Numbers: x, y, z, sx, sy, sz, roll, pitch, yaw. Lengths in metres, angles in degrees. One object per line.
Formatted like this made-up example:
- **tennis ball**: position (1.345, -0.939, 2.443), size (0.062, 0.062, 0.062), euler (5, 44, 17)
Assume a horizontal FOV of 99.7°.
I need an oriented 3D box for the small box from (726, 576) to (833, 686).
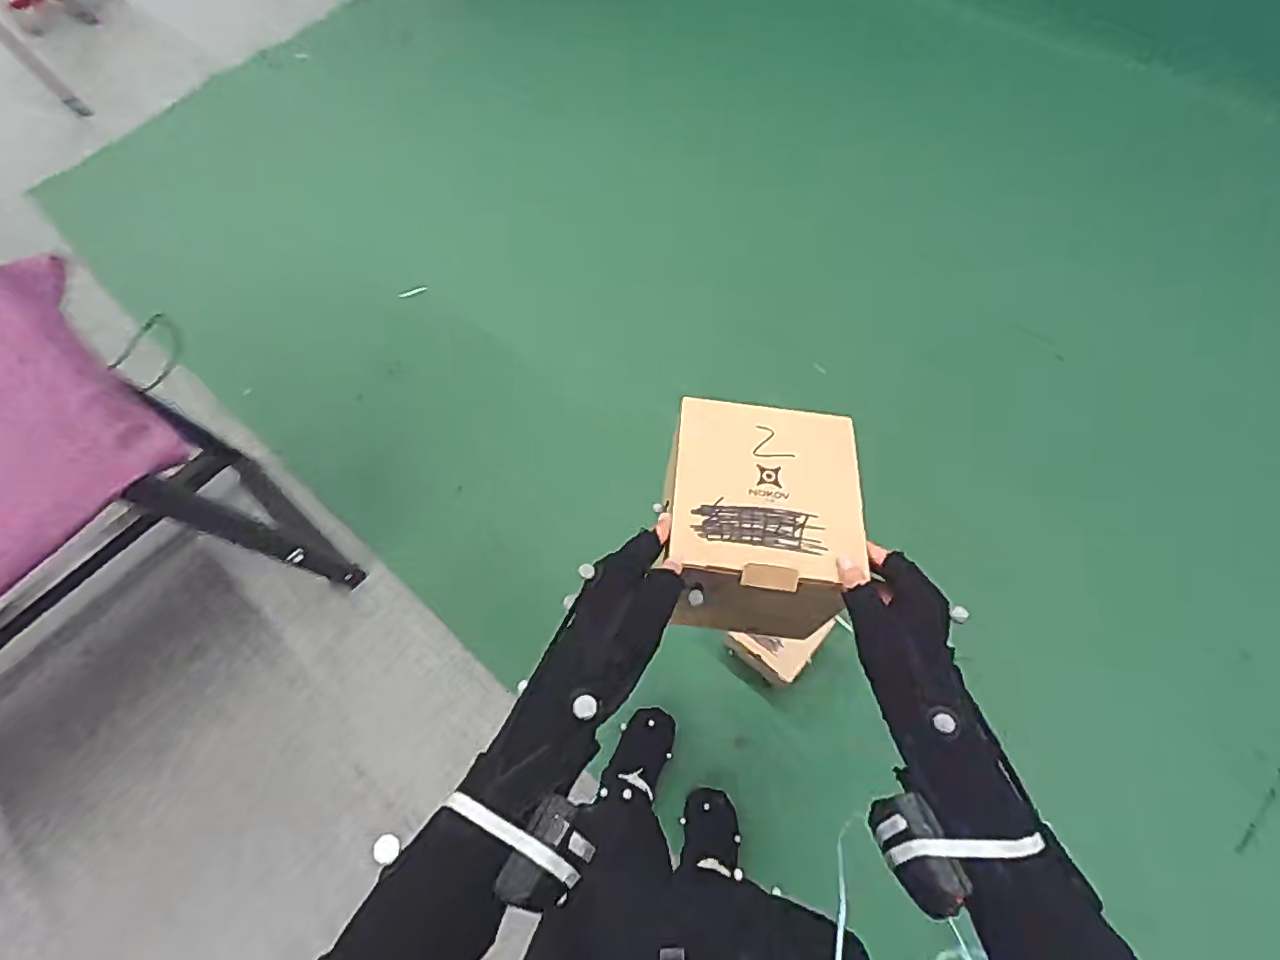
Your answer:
- **small box**: position (0.314, 0.358, 1.259), size (0.168, 0.176, 0.179), euler (38, 73, 18)
